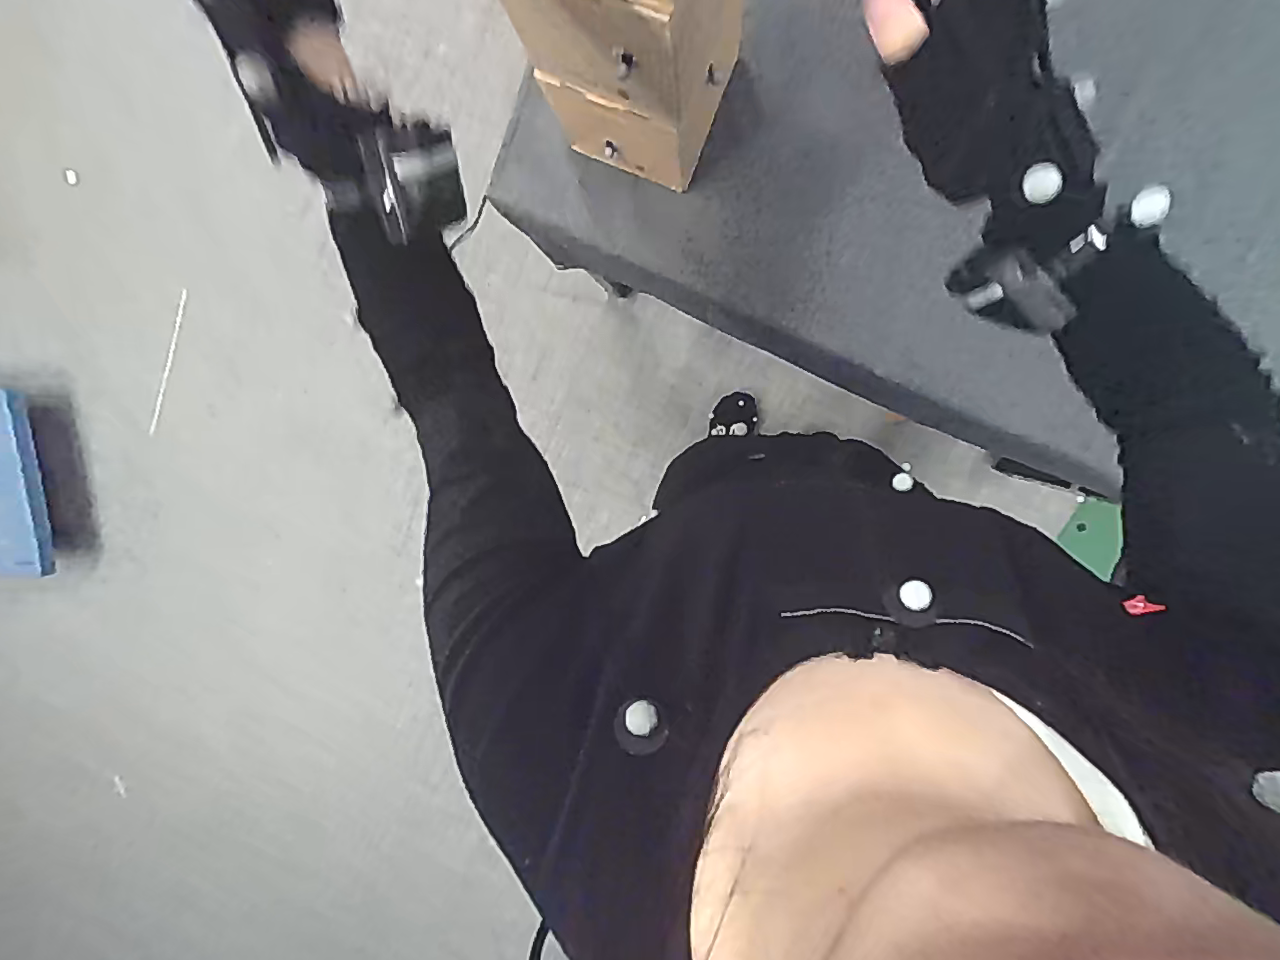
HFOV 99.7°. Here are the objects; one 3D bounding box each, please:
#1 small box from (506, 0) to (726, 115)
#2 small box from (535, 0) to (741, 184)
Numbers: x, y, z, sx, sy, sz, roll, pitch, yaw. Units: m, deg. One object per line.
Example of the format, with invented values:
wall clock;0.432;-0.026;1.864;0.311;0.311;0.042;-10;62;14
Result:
small box;-0.011;-0.456;0.455;0.168;0.176;0.179;24;101;2
small box;0.006;-0.479;0.615;0.168;0.176;0.179;23;101;3
